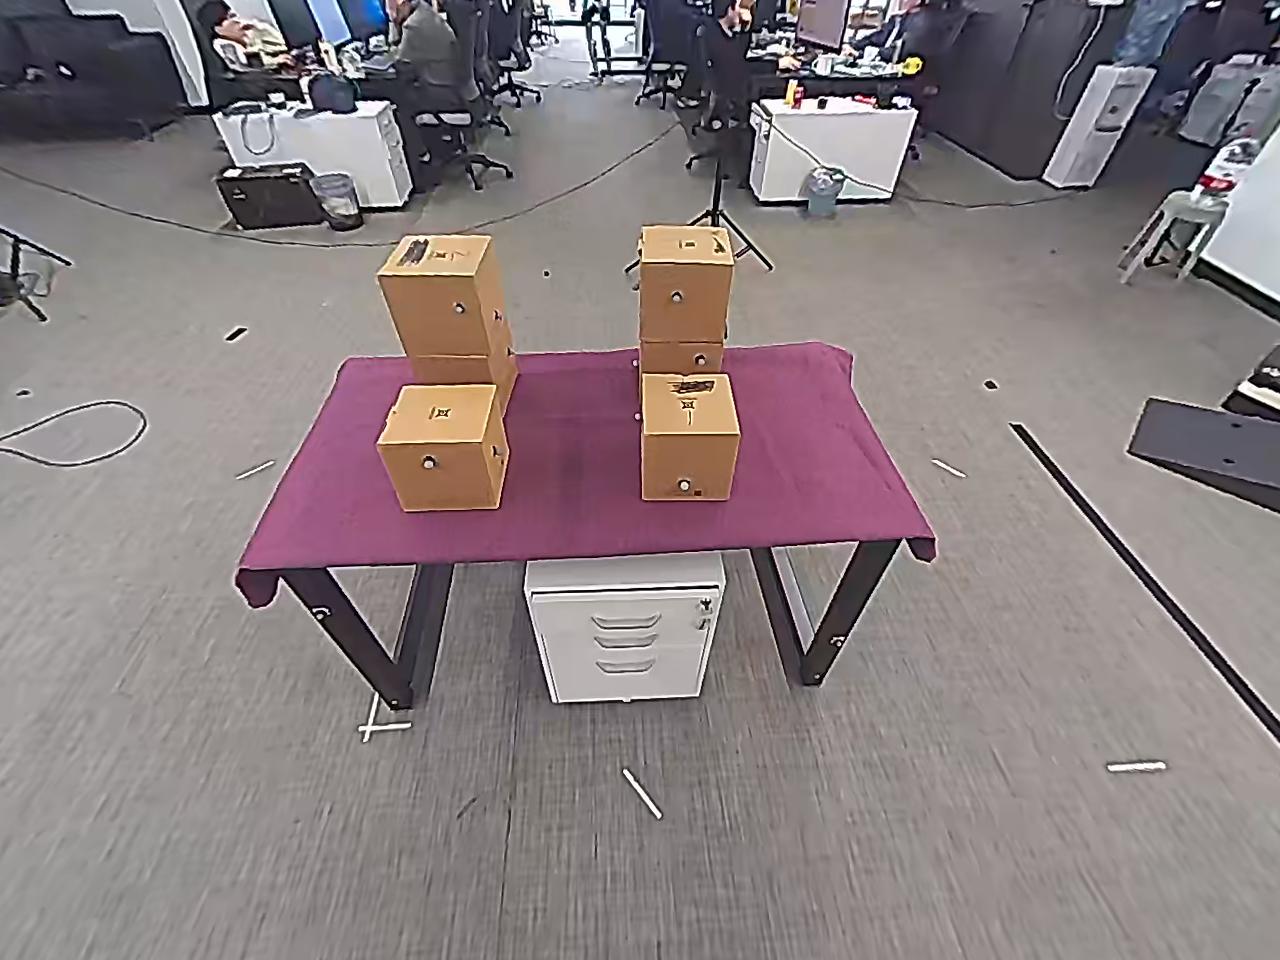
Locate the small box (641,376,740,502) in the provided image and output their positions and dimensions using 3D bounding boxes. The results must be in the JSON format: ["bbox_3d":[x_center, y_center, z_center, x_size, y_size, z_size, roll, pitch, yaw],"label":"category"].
[{"bbox_3d":[0.086,-0.078,1.024,0.168,0.176,0.179,-1,45,0],"label":"small box"}]

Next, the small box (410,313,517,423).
[{"bbox_3d":[-0.376,-0.247,1.188,0.168,0.176,0.179,1,48,2],"label":"small box"}]

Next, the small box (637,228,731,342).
[{"bbox_3d":[0.086,-0.396,1.105,0.179,0.176,0.168,0,47,1],"label":"small box"}]

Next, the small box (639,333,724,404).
[{"bbox_3d":[0.087,-0.282,1.222,0.179,0.176,0.168,0,46,0],"label":"small box"}]
